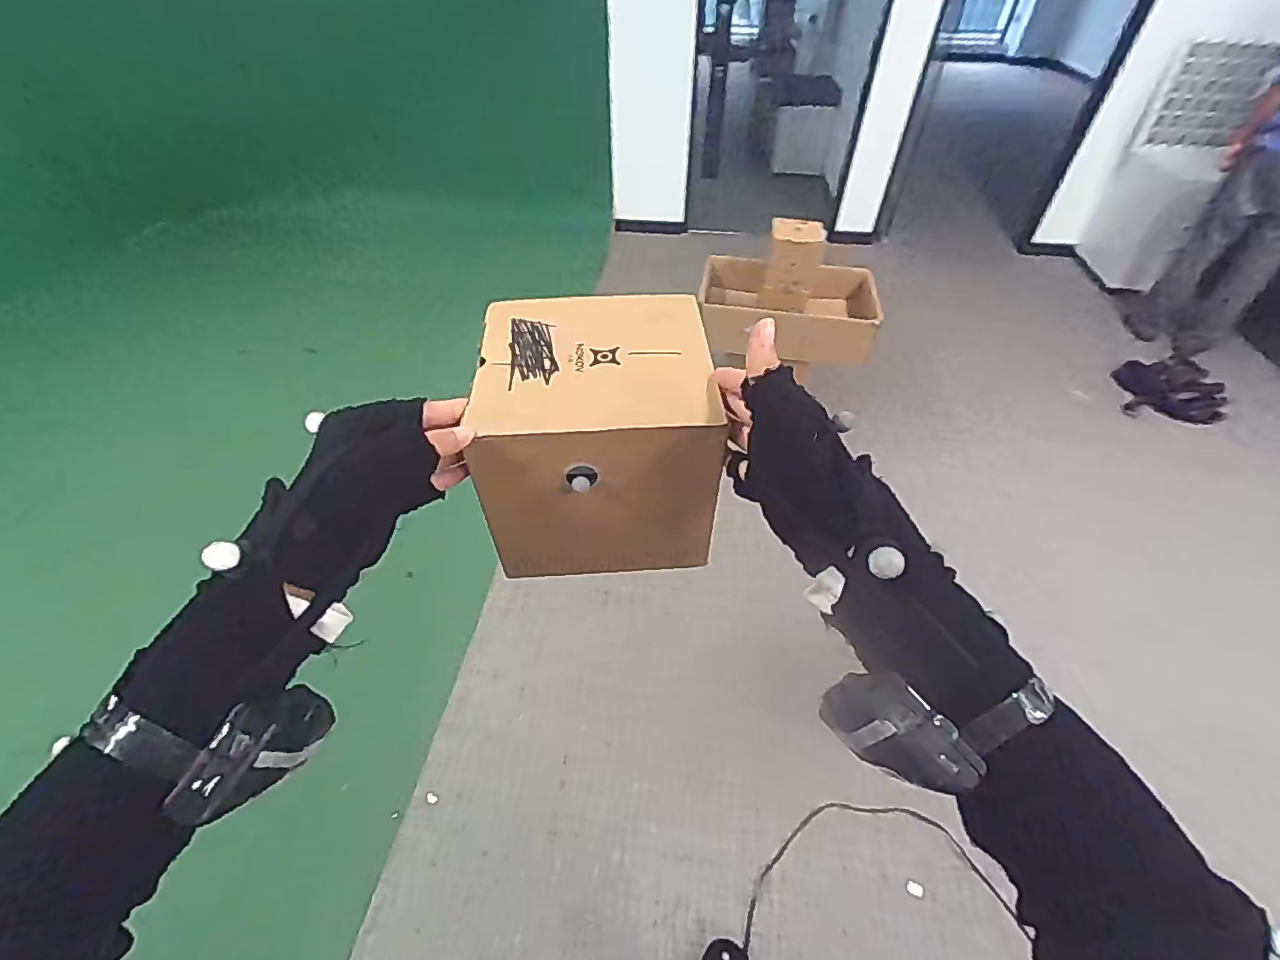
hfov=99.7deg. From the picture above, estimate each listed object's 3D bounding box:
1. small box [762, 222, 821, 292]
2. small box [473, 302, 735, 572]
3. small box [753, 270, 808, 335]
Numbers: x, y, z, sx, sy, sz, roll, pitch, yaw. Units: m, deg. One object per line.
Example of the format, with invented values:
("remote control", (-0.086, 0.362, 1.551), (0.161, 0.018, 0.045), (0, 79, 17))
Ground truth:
("small box", (0.527, -0.776, 1.888), (0.168, 0.176, 0.179), (9, 47, 5))
("small box", (-0.026, -0.034, 0.464), (0.179, 0.176, 0.168), (-2, 48, -3))
("small box", (0.518, -0.656, 2.000), (0.168, 0.176, 0.179), (8, 44, 5))
